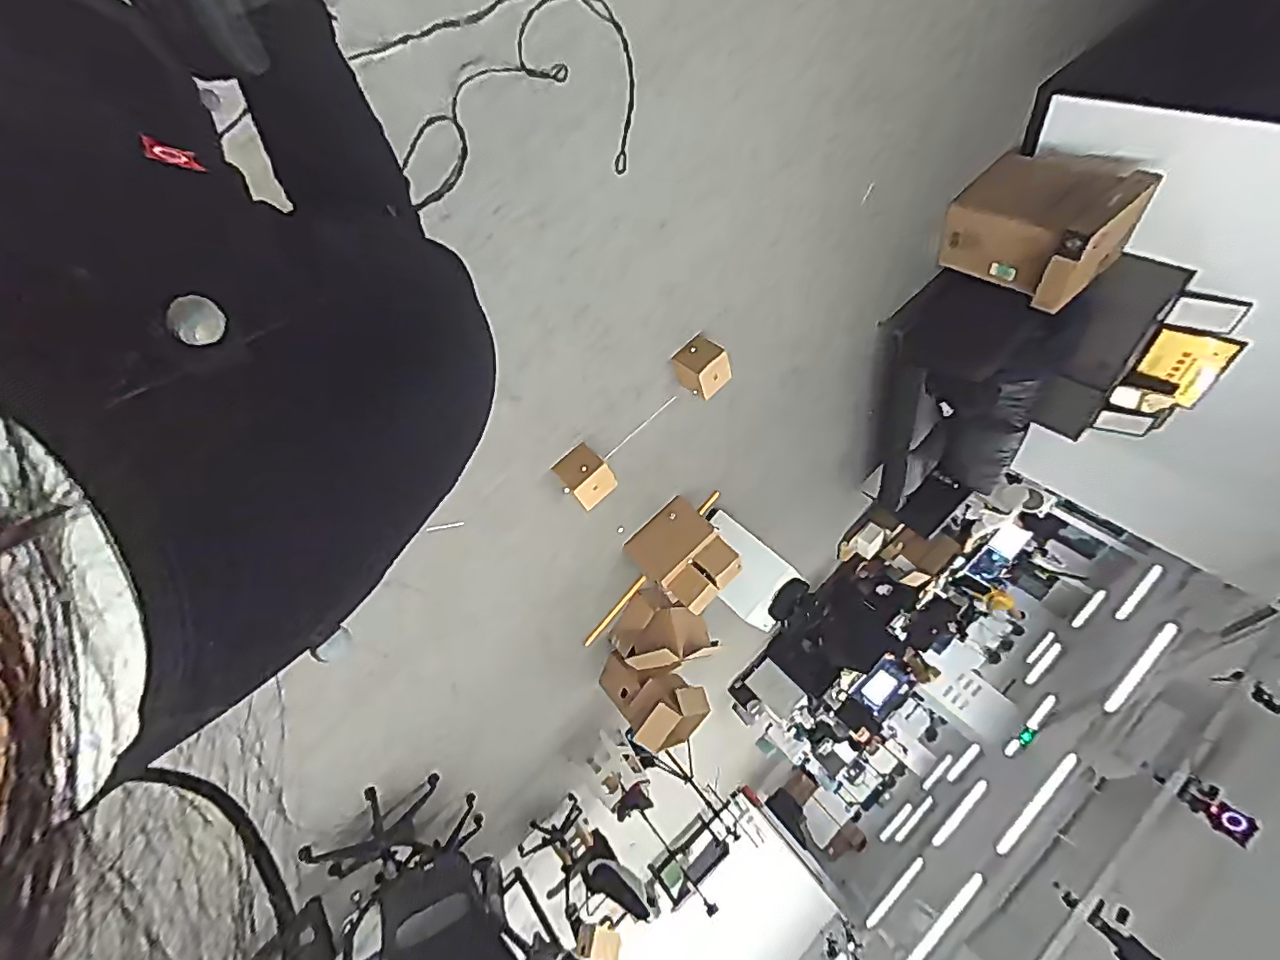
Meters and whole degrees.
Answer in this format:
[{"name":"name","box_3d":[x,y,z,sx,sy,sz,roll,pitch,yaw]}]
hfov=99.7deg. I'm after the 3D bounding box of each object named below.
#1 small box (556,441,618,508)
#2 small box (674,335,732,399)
[{"name":"small box","box_3d":[-0.224,-0.024,2.223,0.179,0.176,0.168,-43,145,-10]},{"name":"small box","box_3d":[0.271,-0.488,2.324,0.168,0.176,0.179,-43,146,-10]}]
